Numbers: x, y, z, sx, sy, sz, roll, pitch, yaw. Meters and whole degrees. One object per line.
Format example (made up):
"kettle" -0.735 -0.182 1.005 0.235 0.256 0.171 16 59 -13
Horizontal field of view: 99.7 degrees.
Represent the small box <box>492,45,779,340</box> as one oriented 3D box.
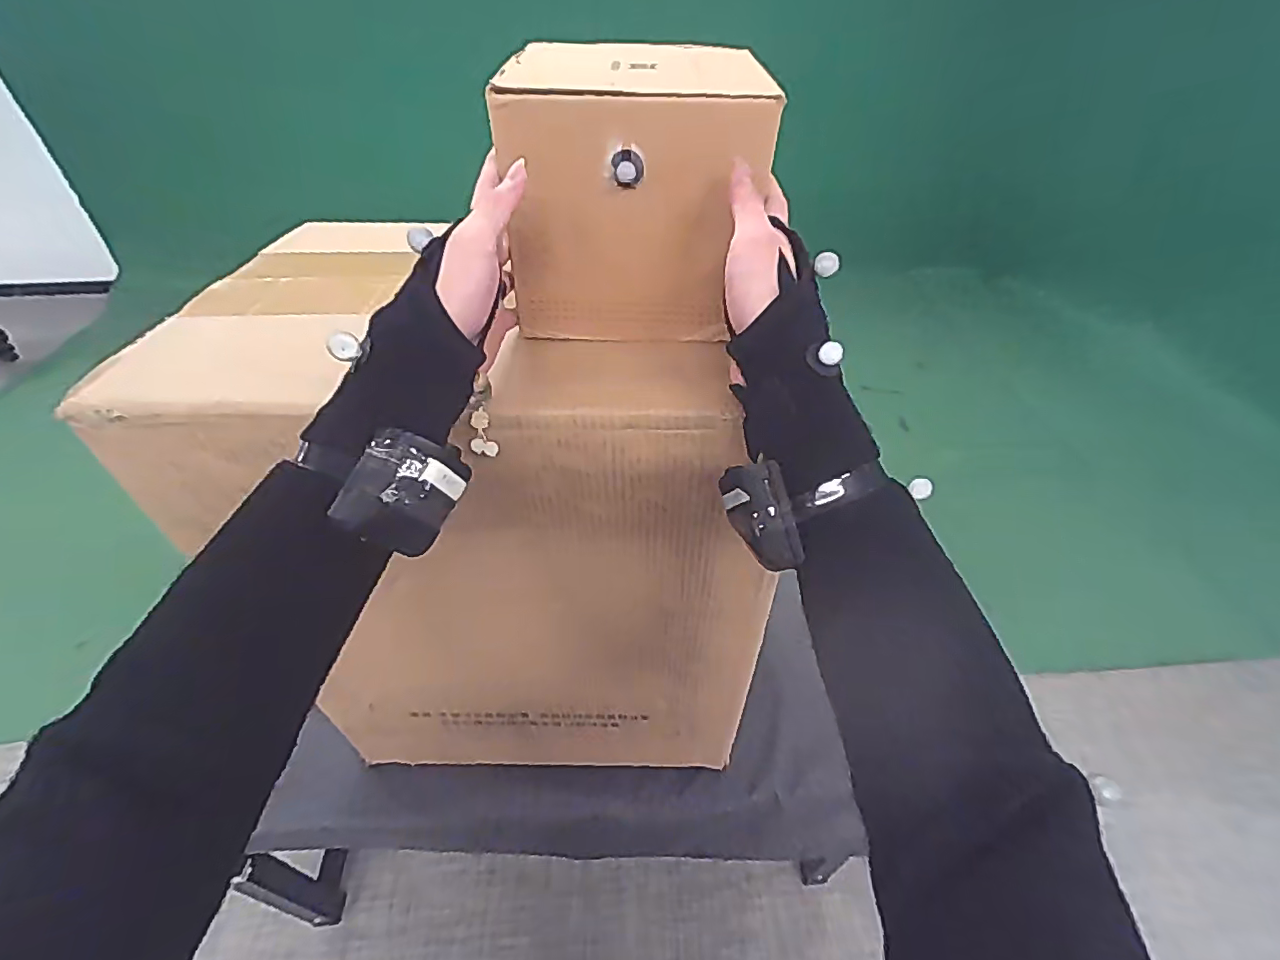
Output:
"small box" -0.004 -0.227 0.433 0.179 0.176 0.168 2 46 -2
